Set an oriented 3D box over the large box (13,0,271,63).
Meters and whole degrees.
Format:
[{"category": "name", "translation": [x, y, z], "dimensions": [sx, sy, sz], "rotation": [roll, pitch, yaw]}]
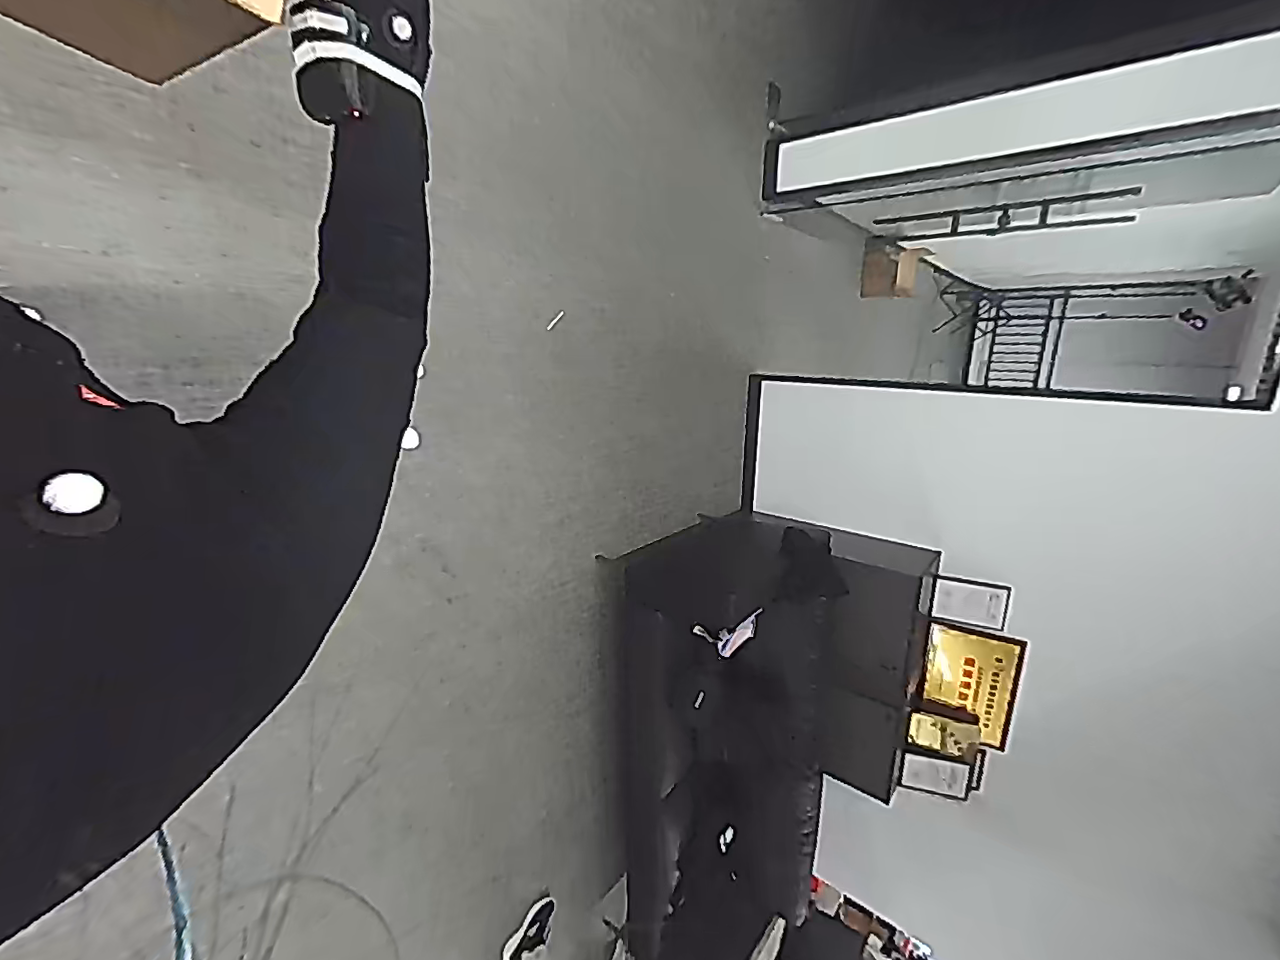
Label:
[{"category": "large box", "translation": [-0.435, -0.500, 0.255], "dimensions": [0.408, 0.320, 0.320], "rotation": [0, 107, -54]}]
